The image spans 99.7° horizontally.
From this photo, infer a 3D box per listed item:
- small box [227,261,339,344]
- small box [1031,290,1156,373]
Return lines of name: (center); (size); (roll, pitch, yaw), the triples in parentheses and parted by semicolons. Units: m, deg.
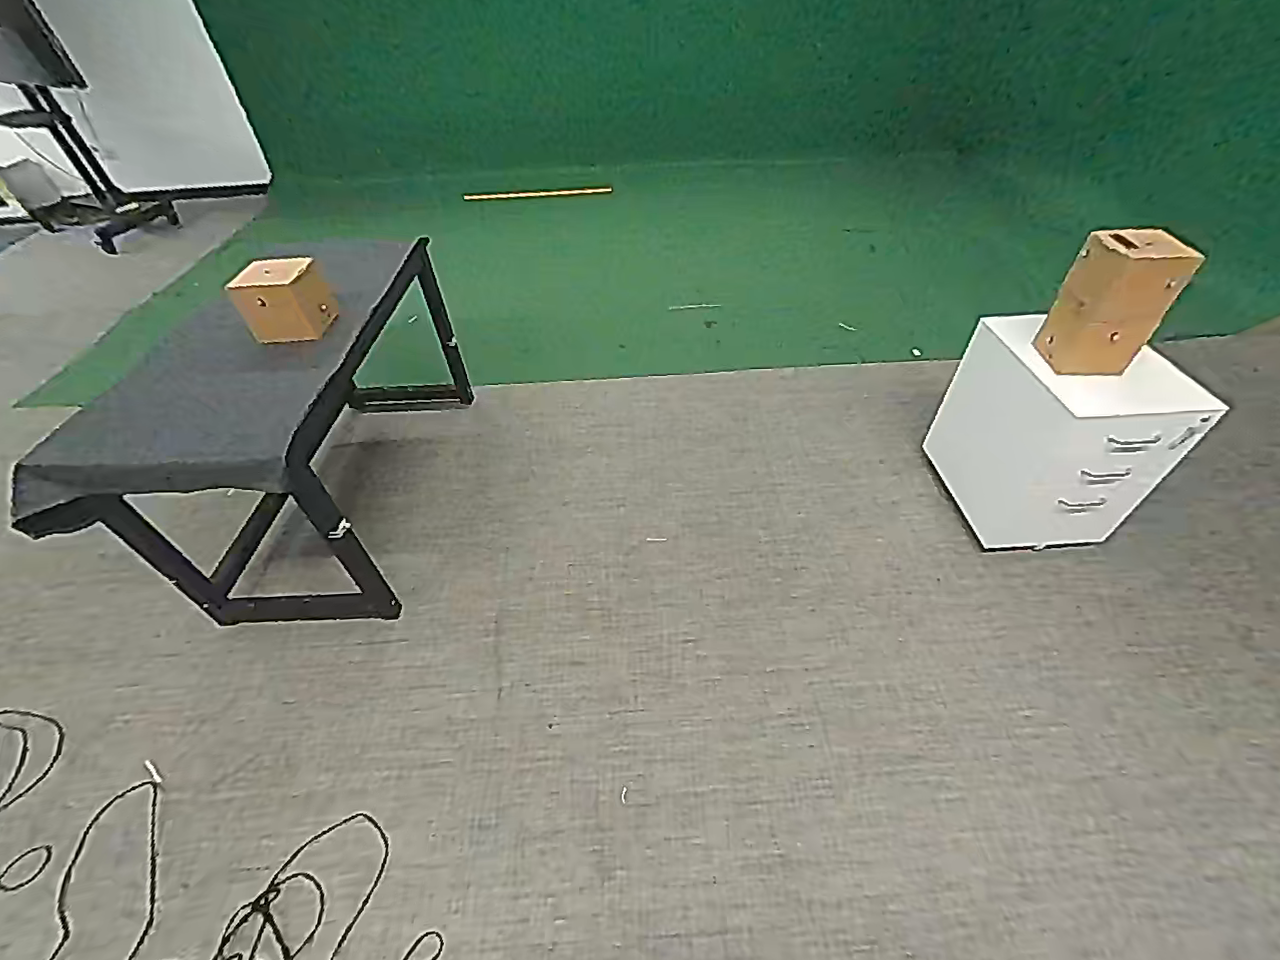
small box: (-0.999, -0.499, 1.530); (0.179, 0.176, 0.168); (-3, 46, 1)
small box: (1.245, -0.410, 1.501); (0.179, 0.176, 0.168); (1, 45, 3)
